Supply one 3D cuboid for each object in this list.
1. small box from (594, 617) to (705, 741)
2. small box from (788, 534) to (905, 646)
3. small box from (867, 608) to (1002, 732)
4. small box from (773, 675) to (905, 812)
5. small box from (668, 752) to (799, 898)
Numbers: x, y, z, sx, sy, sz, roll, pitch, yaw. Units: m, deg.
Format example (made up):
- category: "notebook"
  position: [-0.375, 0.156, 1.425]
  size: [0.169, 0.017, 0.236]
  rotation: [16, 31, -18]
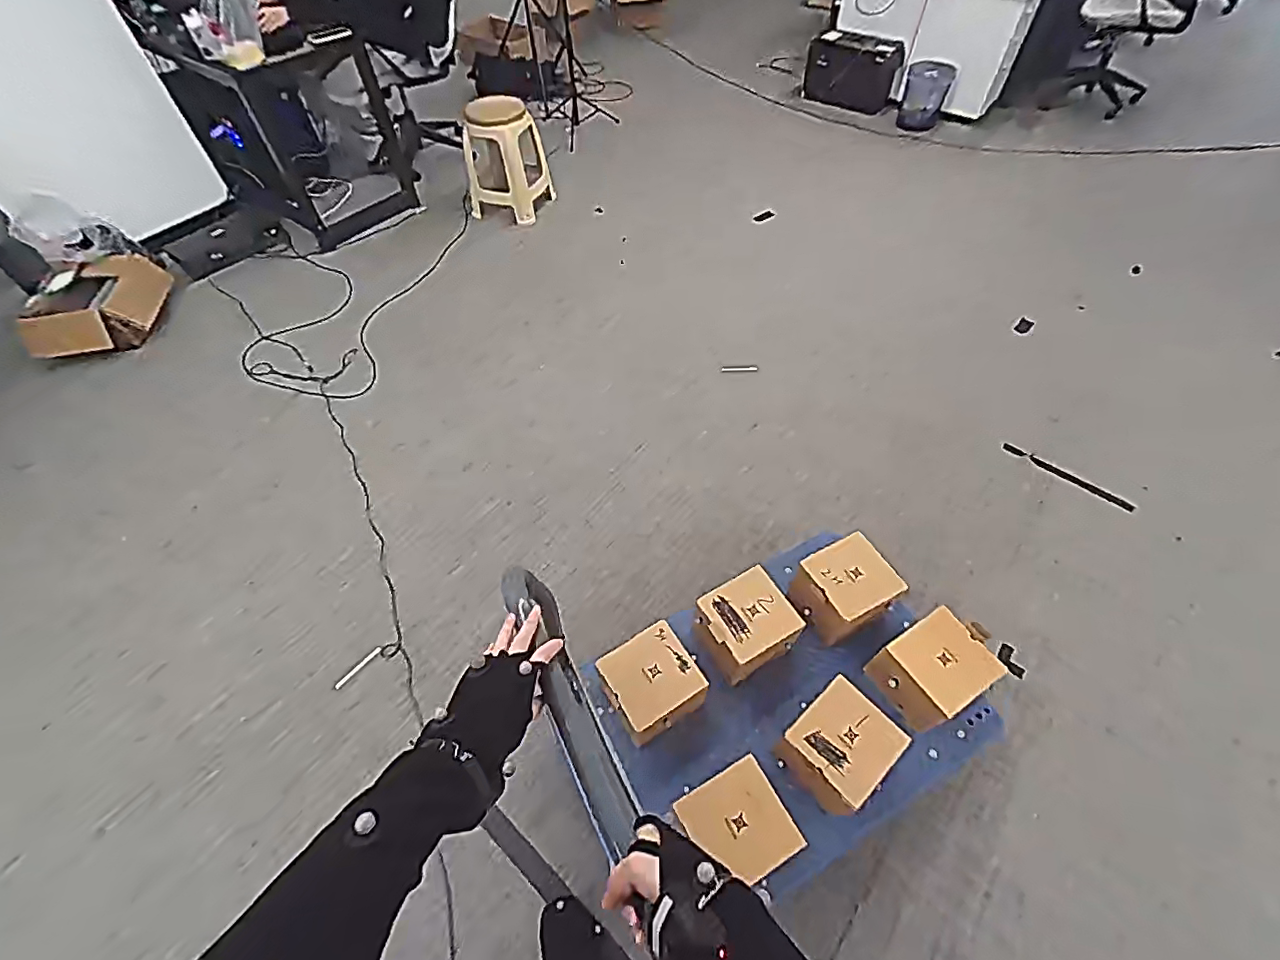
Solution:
- category: "small box"
  position: [0.020, 0.434, 1.165]
  size: [0.179, 0.176, 0.168]
  rotation: [-27, 59, -17]
- category: "small box"
  position: [0.476, 0.262, 1.276]
  size: [0.179, 0.176, 0.168]
  rotation: [-23, 57, -14]
- category: "small box"
  position: [0.618, 0.414, 1.167]
  size: [0.179, 0.176, 0.168]
  rotation: [-27, 58, -17]
- category: "small box"
  position: [0.386, 0.534, 1.087]
  size: [0.179, 0.176, 0.168]
  rotation: [-34, 60, -22]
- category: "small box"
  position: [0.165, 0.645, 1.014]
  size: [0.179, 0.176, 0.168]
  rotation: [-23, 58, -15]
